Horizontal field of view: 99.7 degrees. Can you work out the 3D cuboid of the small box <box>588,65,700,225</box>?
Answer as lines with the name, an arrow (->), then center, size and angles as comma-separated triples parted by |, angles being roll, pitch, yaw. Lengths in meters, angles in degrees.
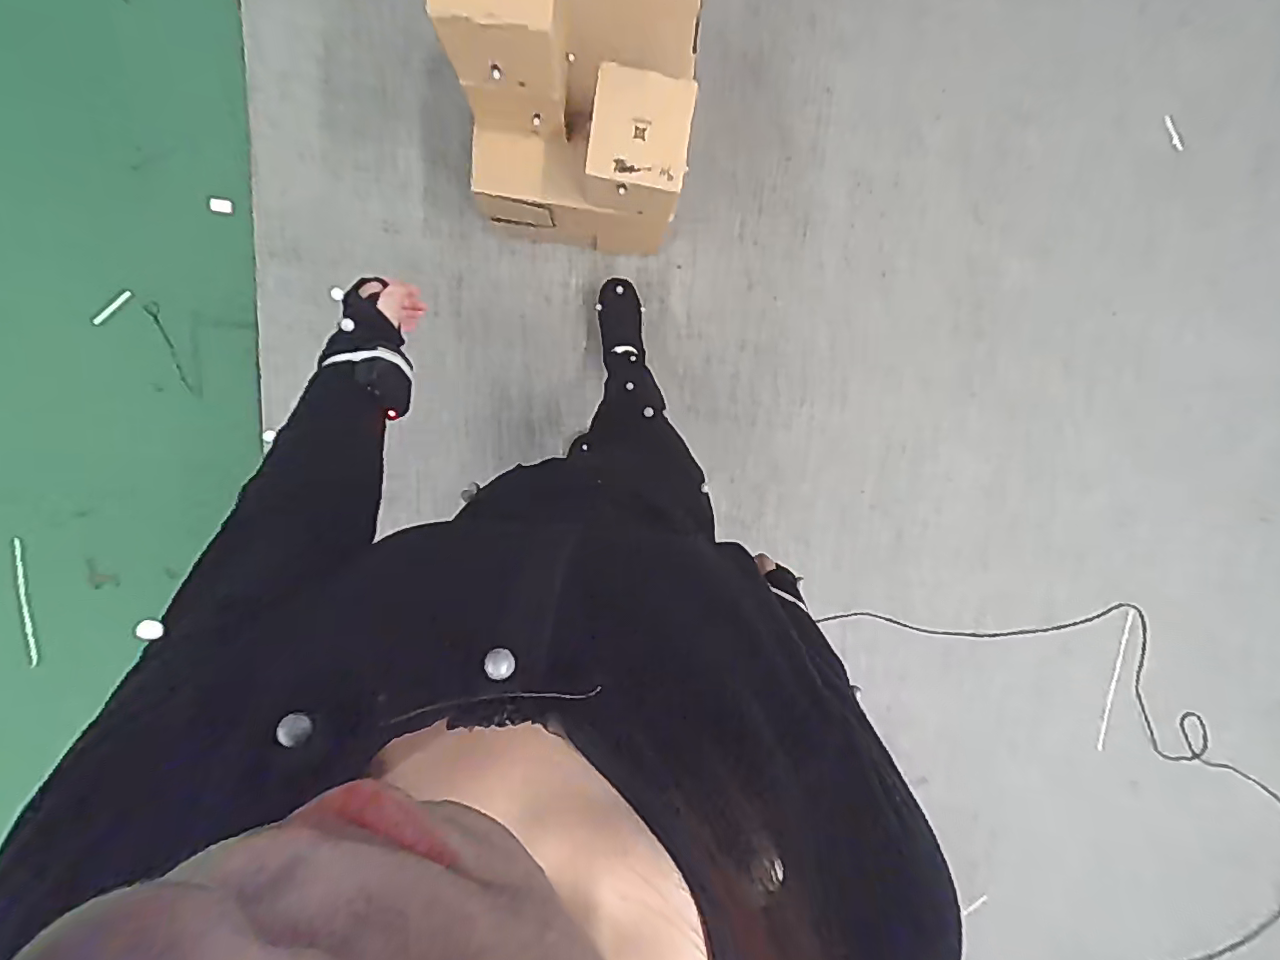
small box -> 0.000, -0.589, 0.974 | 0.168, 0.176, 0.179 | 9, 98, -5

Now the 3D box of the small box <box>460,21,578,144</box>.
small box -> -0.202, -0.723, 0.944 | 0.168, 0.176, 0.179 | 7, 98, -4

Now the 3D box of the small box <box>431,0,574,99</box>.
small box -> -0.188, -0.699, 0.783 | 0.168, 0.176, 0.179 | 7, 101, -4
